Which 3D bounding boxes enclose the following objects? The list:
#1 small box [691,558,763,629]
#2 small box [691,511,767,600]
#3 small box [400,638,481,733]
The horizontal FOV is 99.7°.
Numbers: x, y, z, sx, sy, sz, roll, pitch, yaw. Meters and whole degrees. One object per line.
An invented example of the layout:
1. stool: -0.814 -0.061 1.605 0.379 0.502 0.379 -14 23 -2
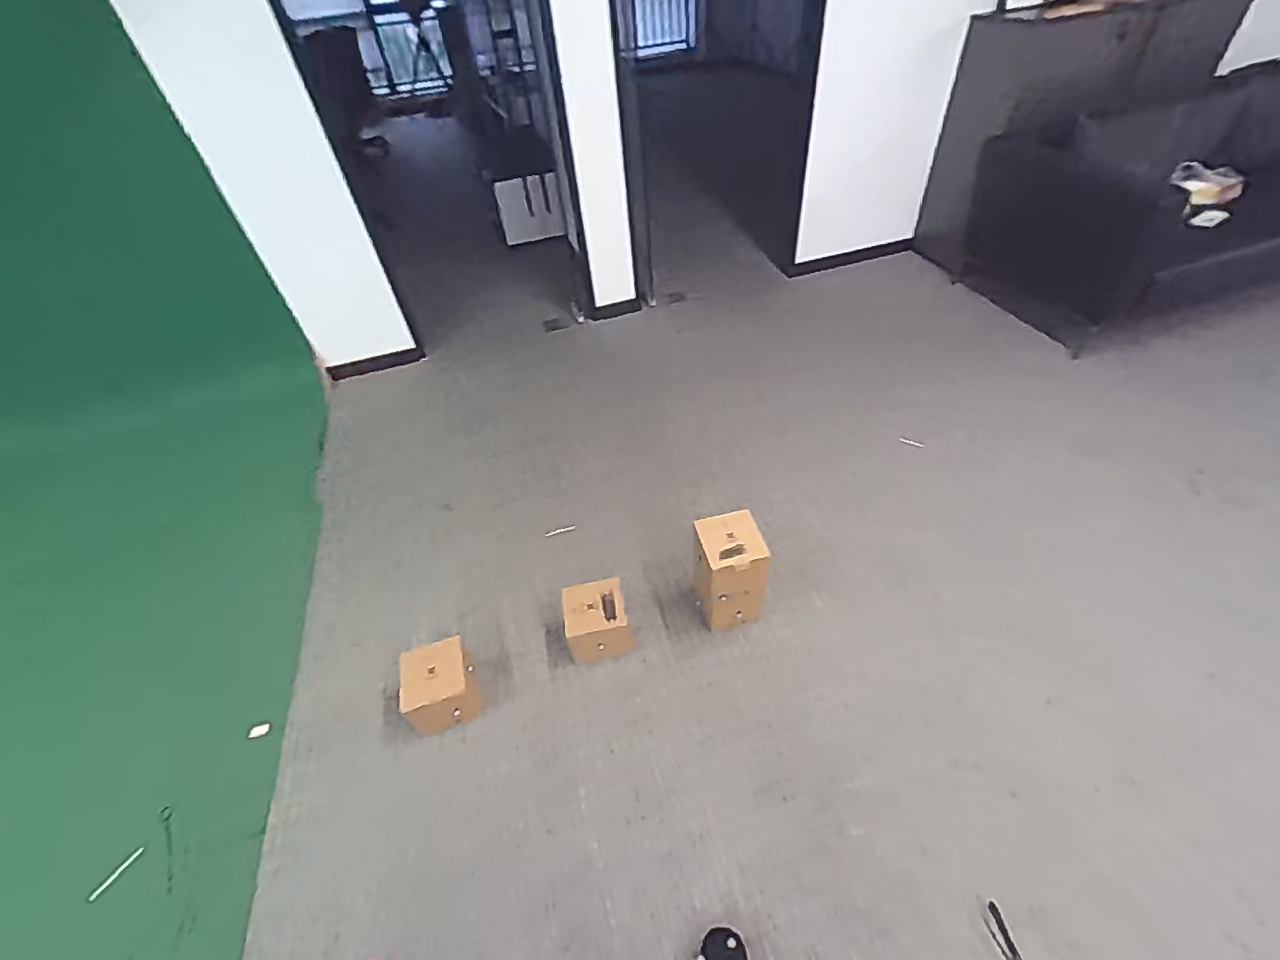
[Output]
1. small box: 0.260 0.333 1.642 0.168 0.176 0.179 -13 46 -7
2. small box: 0.247 0.220 1.522 0.168 0.176 0.179 -12 44 -6
3. small box: -0.549 0.574 1.494 0.168 0.176 0.179 -16 45 -10
